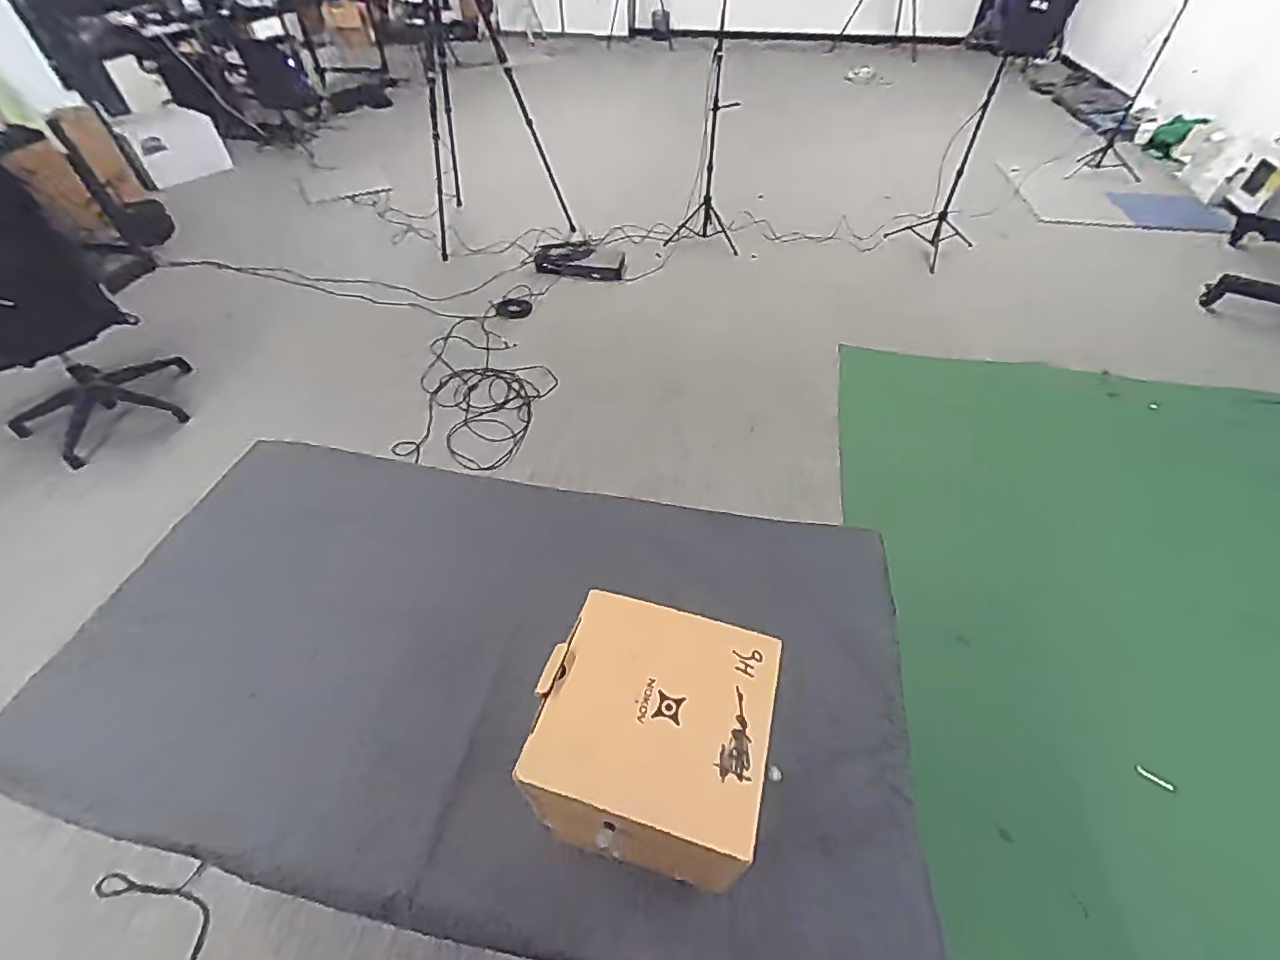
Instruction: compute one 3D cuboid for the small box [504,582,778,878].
[{"bbox_3d":[0.010,0.219,0.473,0.179,0.176,0.168,13,49,12],"label":"small box"}]
